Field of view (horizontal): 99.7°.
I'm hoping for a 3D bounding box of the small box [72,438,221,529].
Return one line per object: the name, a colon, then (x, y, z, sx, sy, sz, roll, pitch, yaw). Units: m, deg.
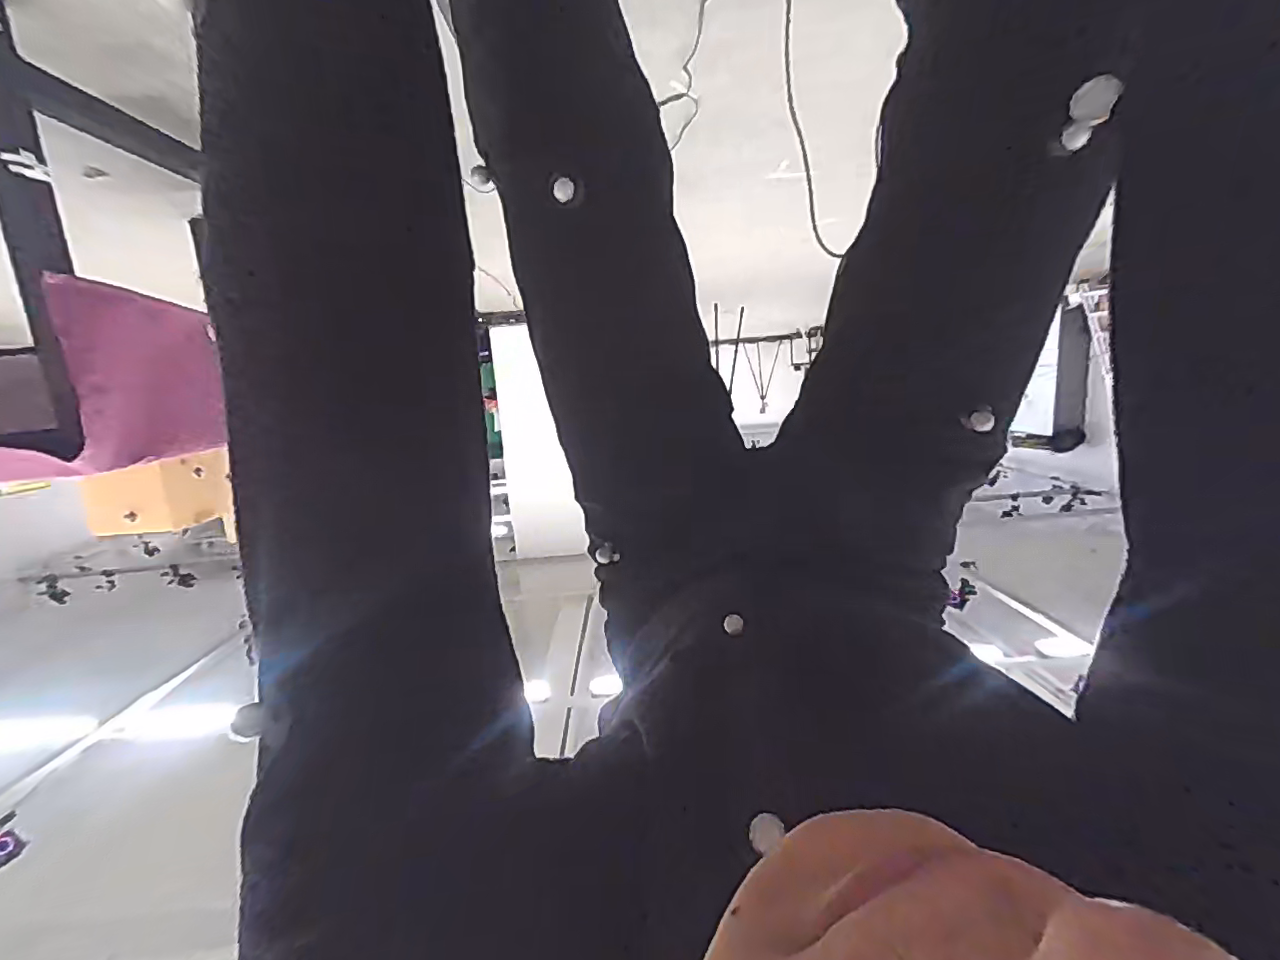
small box: (-1.082, 0.001, 1.189, 0.179, 0.176, 0.168, -5, -168, 0)
